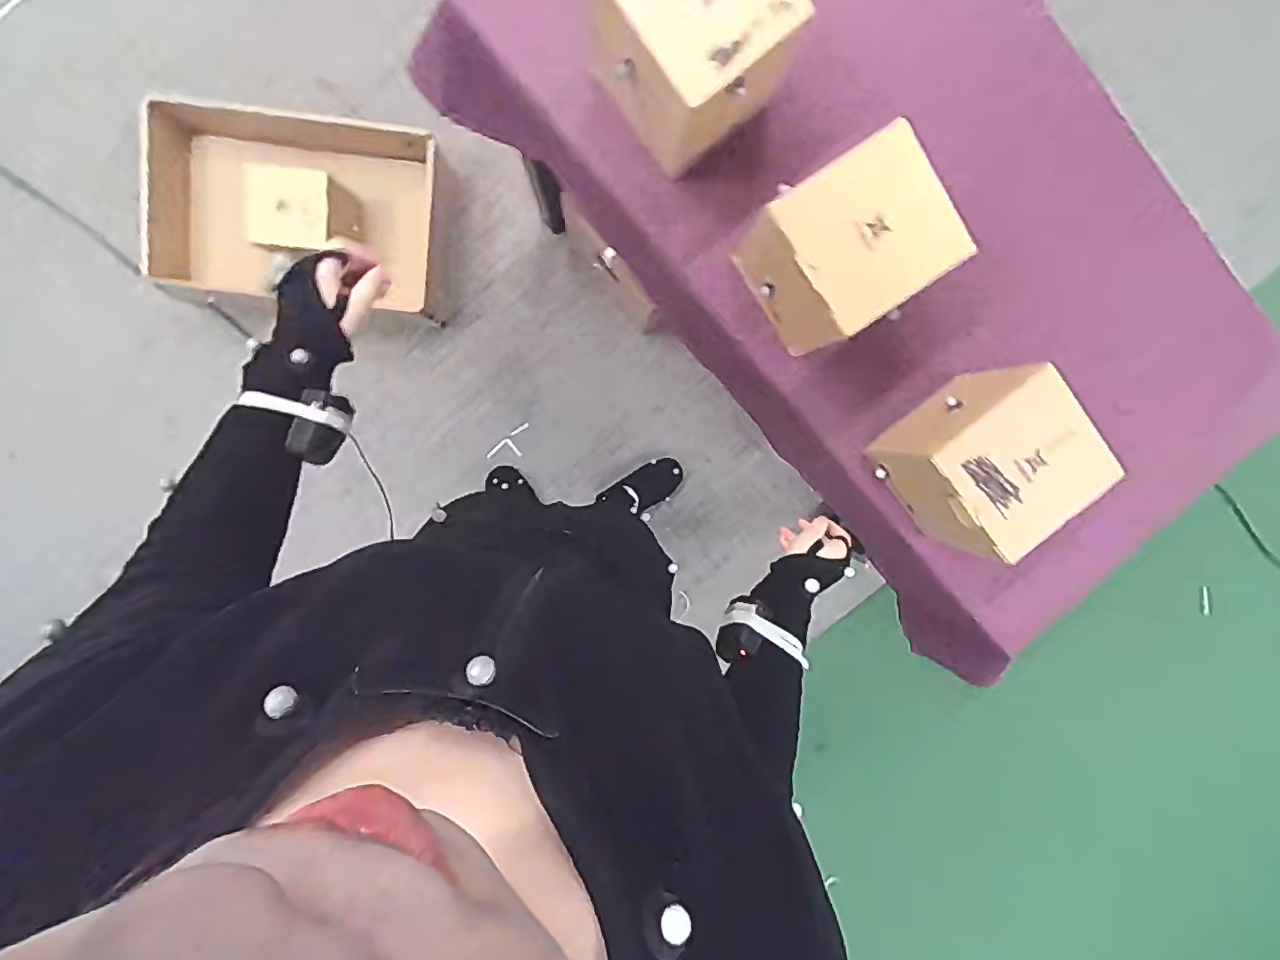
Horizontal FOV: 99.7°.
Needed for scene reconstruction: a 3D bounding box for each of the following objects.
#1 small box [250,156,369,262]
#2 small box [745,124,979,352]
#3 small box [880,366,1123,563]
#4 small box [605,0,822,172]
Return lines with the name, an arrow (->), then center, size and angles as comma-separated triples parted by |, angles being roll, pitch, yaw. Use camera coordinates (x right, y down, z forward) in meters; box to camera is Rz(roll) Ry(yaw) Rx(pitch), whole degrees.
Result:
small box -> -0.758, -0.617, 1.252 | 0.179, 0.176, 0.168 | 6, 98, -3
small box -> 0.256, -0.279, 0.666 | 0.179, 0.176, 0.168 | -33, 97, 2
small box -> 0.445, -0.023, 0.704 | 0.179, 0.176, 0.168 | -38, 97, 1
small box -> 0.069, -0.508, 0.627 | 0.168, 0.176, 0.179 | -38, 97, 2
